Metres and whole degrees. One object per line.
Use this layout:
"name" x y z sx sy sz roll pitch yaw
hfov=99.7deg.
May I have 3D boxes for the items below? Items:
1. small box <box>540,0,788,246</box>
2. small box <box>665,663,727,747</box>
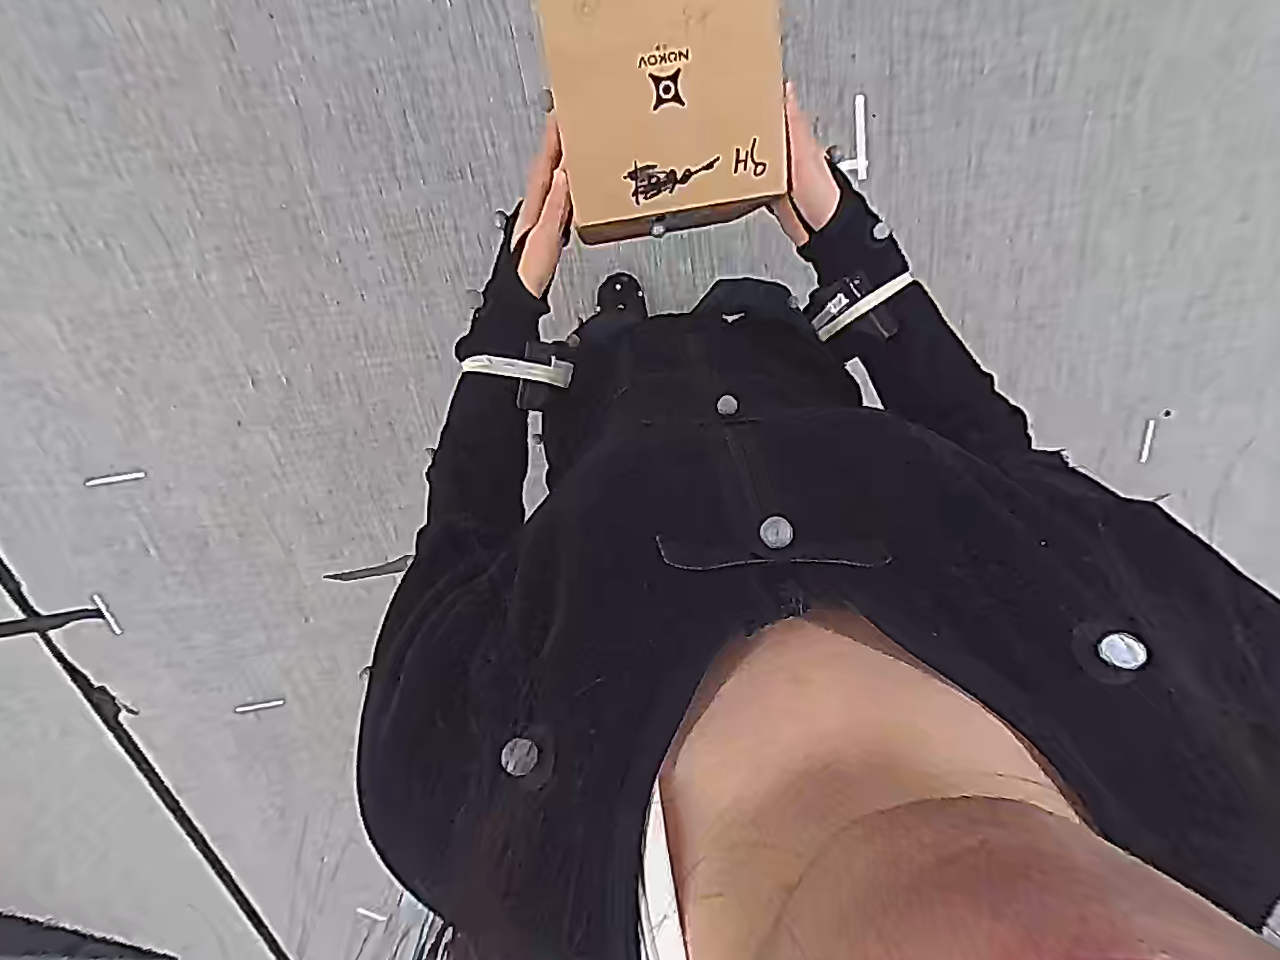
"small box" 0.014 -0.309 0.455 0.168 0.176 0.179 -10 109 -1
"small box" 0.181 0.737 1.777 0.168 0.176 0.179 -11 112 -1
